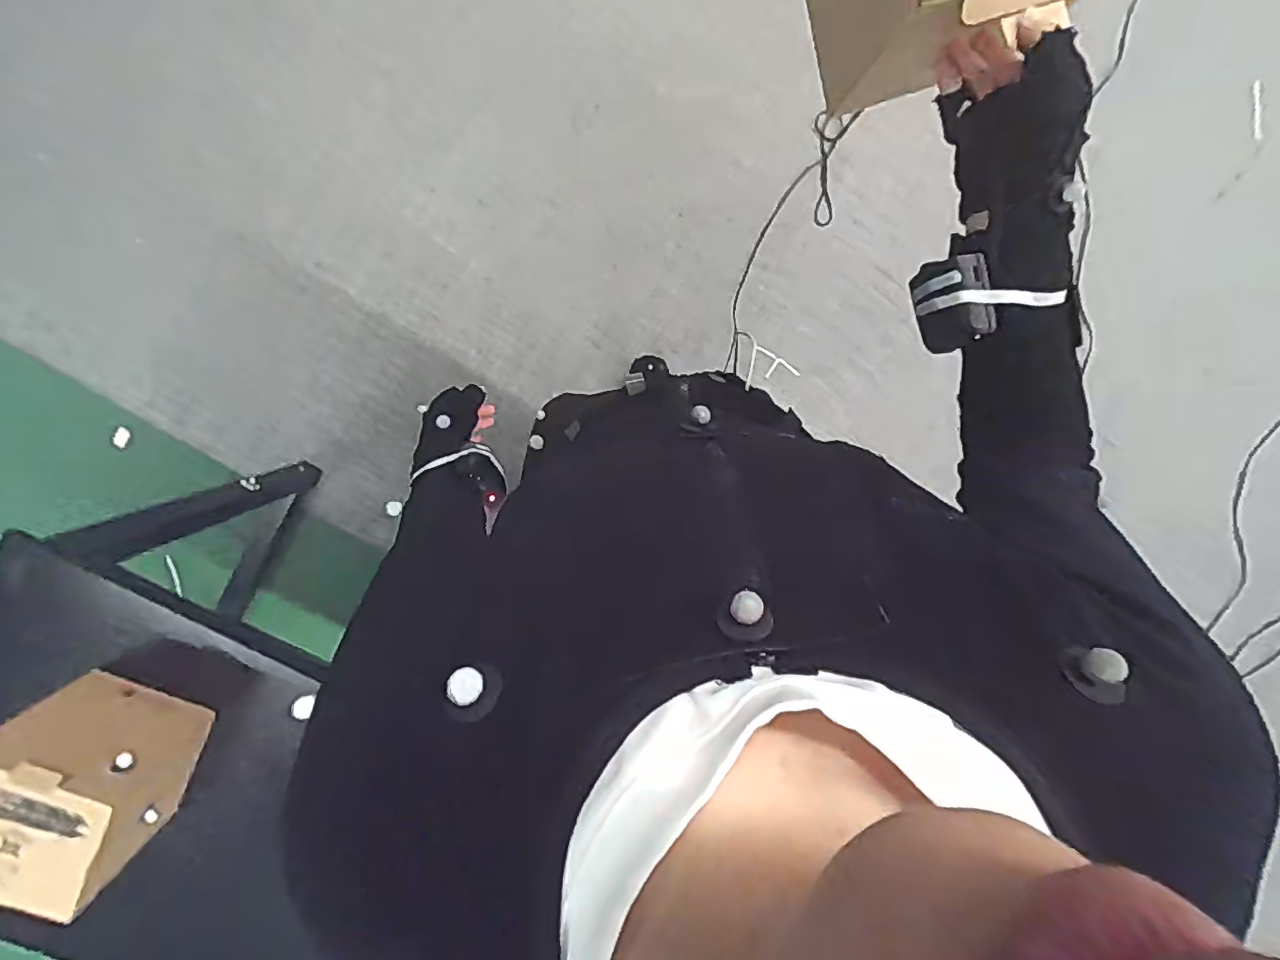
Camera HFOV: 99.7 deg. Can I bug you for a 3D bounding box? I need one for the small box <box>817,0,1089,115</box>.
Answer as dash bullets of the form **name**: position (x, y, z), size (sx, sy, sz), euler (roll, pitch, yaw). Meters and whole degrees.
- **small box**: position (0.239, -0.427, 0.414), size (0.168, 0.176, 0.179), euler (-15, 102, 2)
